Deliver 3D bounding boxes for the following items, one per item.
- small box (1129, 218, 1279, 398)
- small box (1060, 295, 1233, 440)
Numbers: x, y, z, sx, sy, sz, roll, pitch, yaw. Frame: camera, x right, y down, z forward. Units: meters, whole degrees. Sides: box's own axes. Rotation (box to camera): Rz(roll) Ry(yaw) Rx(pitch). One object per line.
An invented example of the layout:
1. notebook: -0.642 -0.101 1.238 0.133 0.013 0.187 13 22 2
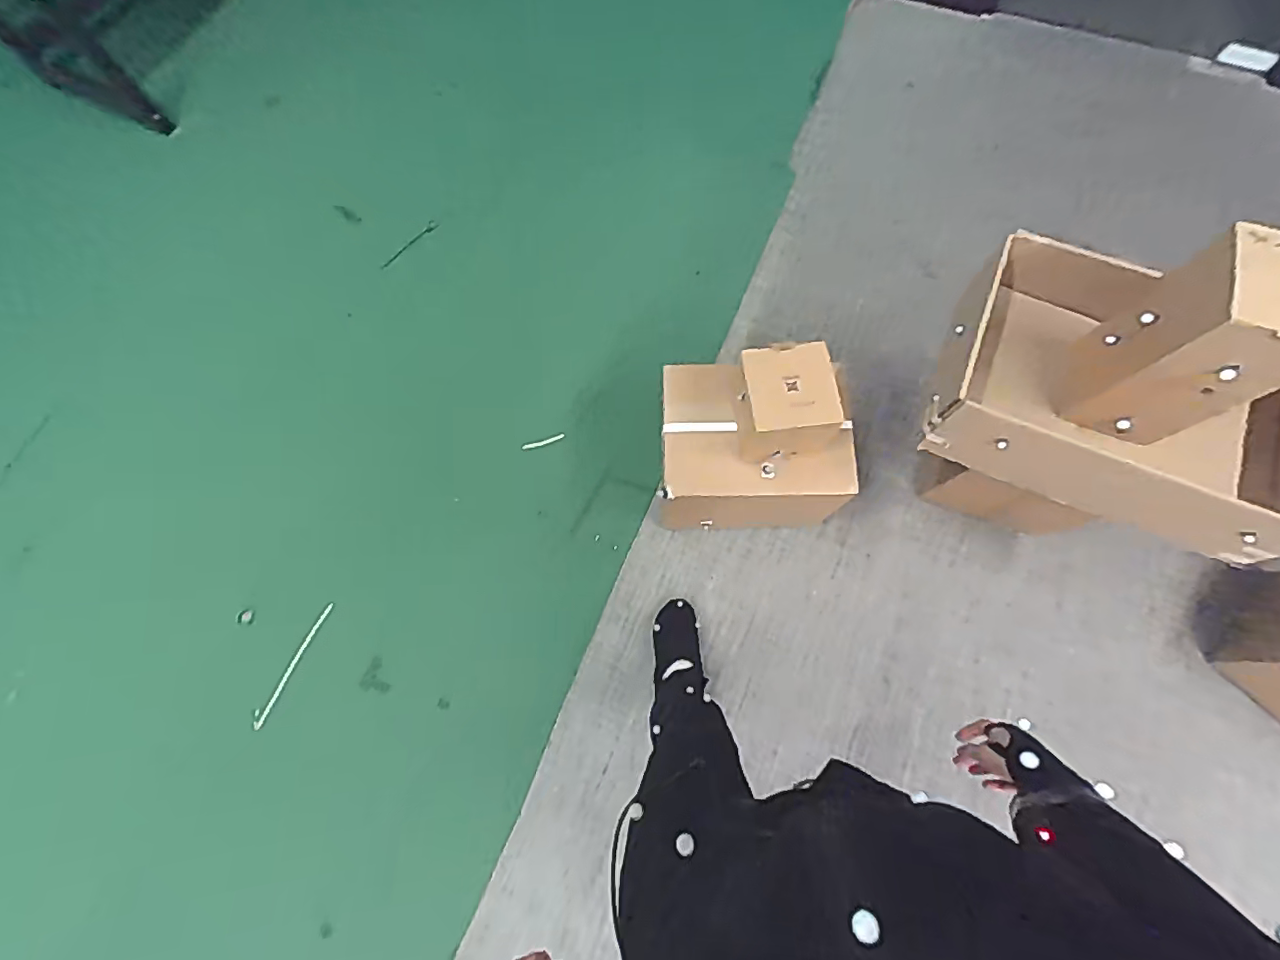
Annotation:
1. small box: 0.896 -0.249 0.817 0.168 0.176 0.179 19 75 7
2. small box: 0.905 -0.199 0.973 0.168 0.176 0.179 21 75 9
